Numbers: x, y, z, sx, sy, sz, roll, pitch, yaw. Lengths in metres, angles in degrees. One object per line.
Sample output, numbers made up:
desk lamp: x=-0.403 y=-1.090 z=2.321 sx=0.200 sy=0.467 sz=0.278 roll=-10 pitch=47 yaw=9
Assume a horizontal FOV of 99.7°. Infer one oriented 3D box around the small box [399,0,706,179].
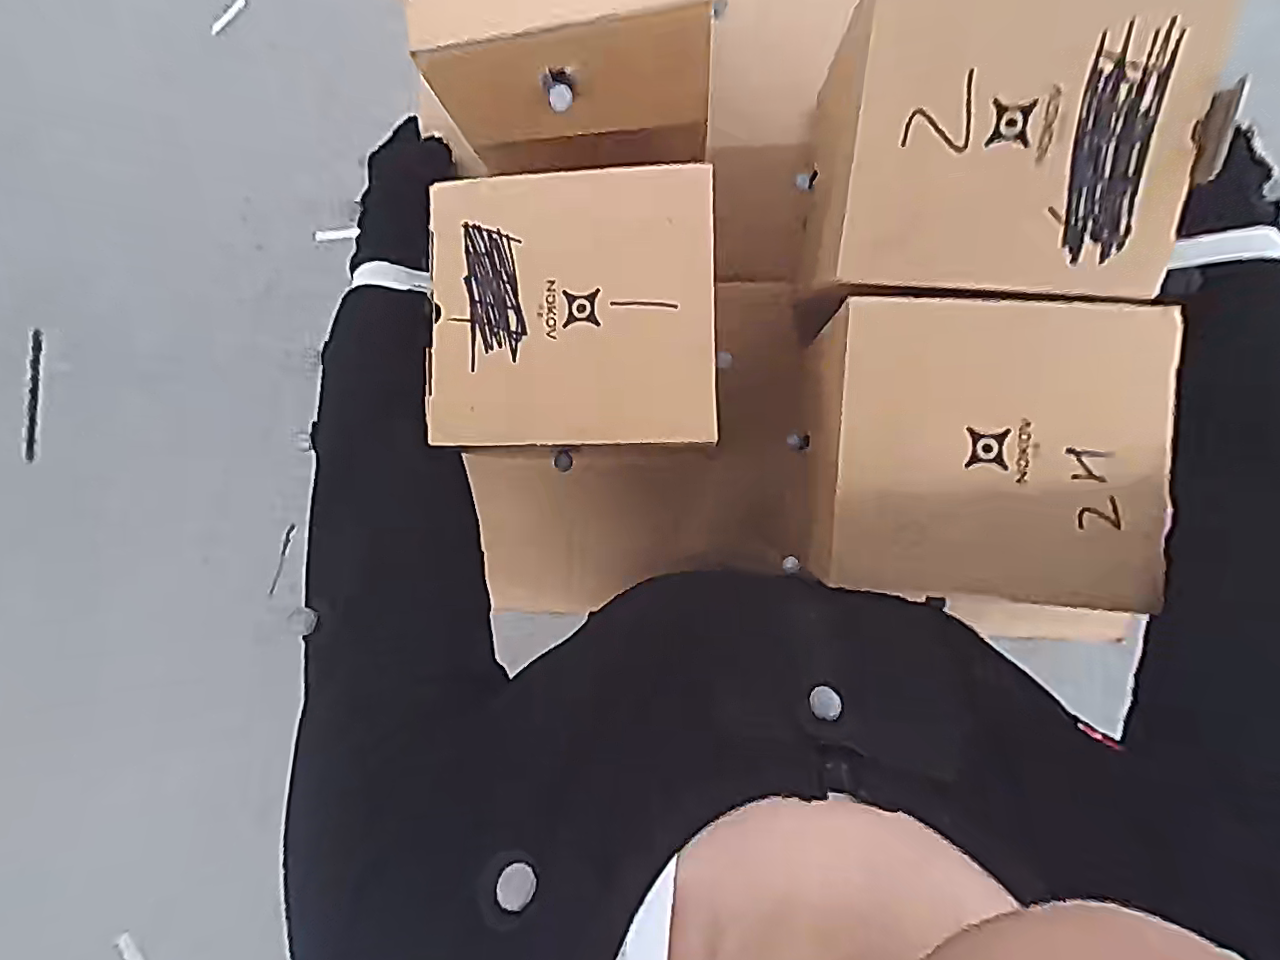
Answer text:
small box: x=-0.049 y=-0.341 z=0.377 sx=0.179 sy=0.176 sz=0.168 roll=-5 pitch=91 yaw=7
